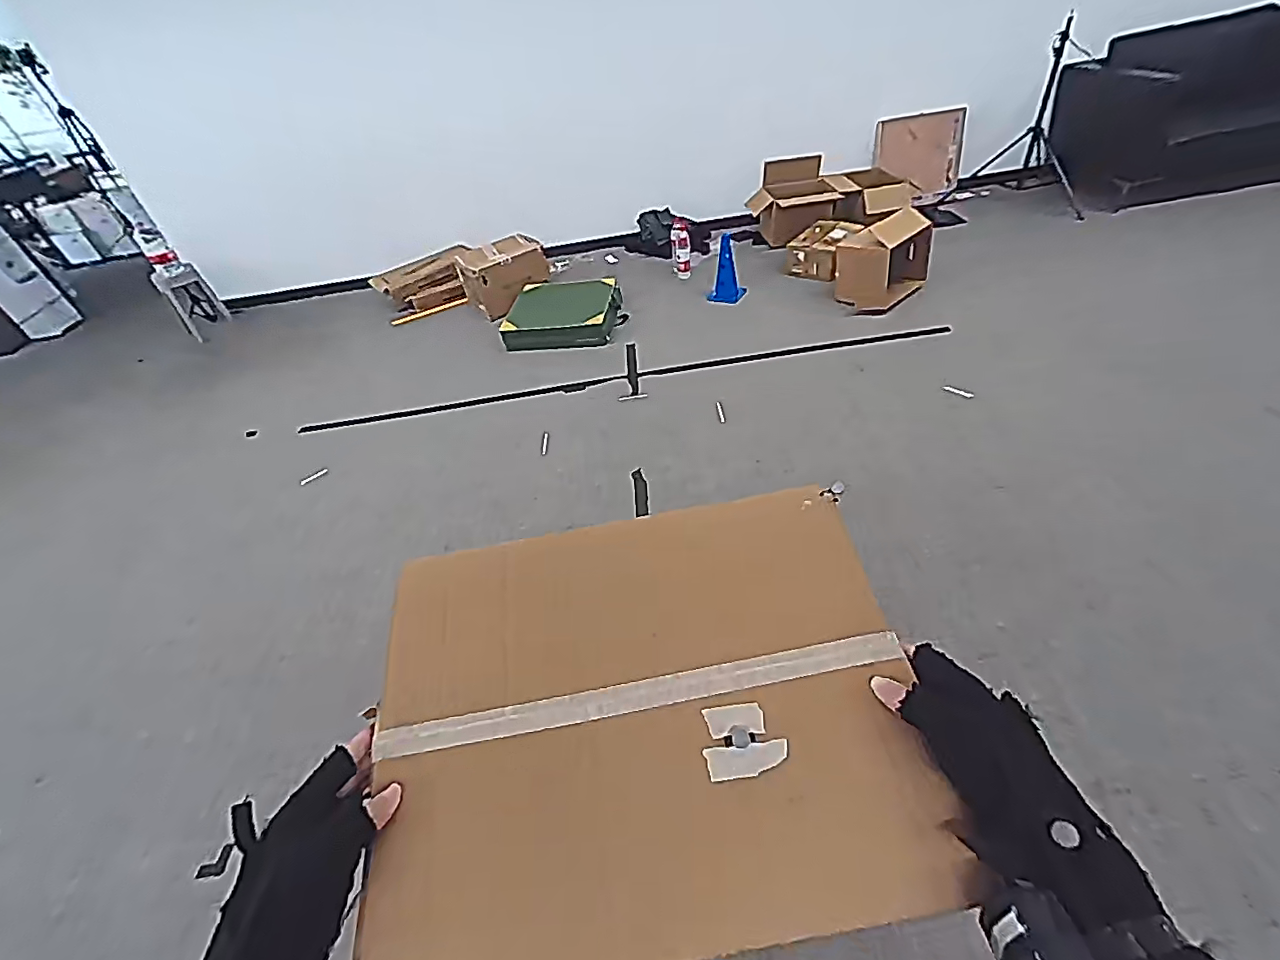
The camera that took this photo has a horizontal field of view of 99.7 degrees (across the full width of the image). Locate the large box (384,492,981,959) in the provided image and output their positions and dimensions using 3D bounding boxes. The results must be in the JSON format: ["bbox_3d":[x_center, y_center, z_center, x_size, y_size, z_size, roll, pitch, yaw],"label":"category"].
[{"bbox_3d":[0.018,0.256,0.551,0.408,0.320,0.320,-11,55,-1],"label":"large box"}]
